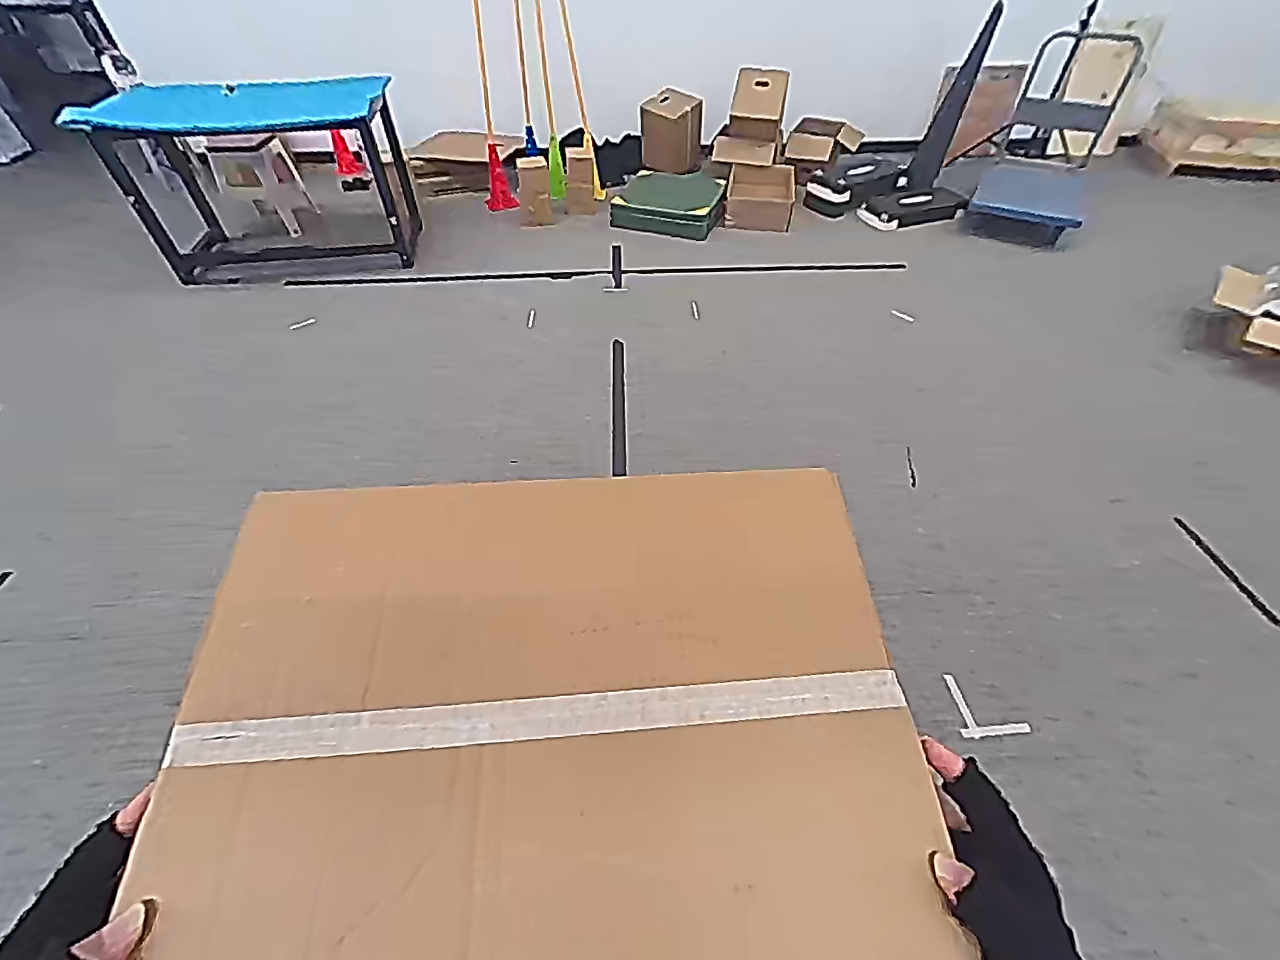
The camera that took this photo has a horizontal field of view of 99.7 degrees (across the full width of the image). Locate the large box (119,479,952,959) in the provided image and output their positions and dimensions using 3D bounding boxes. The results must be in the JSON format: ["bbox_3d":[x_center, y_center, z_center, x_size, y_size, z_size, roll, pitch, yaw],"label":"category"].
[{"bbox_3d":[-0.057,0.218,0.439,0.408,0.320,0.320,-3,58,-4],"label":"large box"}]
